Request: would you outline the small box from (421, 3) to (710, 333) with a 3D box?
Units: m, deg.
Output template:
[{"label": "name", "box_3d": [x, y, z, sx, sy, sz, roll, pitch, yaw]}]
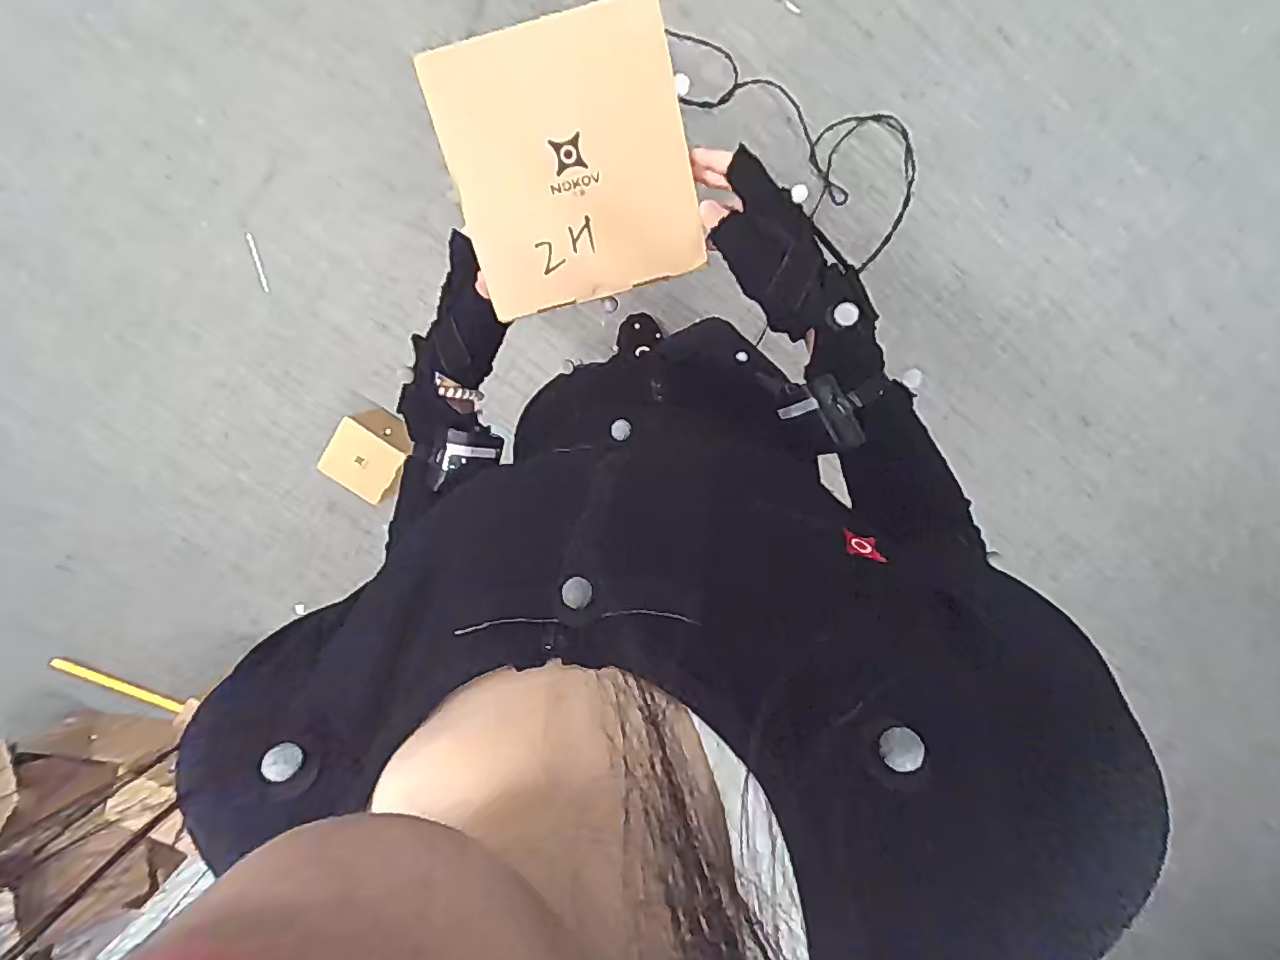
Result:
[{"label": "small box", "box_3d": [-0.049, -0.232, 0.448, 0.168, 0.176, 0.179, -14, 110, 3]}]

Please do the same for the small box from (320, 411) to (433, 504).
[{"label": "small box", "box_3d": [-0.686, -0.068, 1.424, 0.179, 0.176, 0.168, 35, 104, -8]}]
